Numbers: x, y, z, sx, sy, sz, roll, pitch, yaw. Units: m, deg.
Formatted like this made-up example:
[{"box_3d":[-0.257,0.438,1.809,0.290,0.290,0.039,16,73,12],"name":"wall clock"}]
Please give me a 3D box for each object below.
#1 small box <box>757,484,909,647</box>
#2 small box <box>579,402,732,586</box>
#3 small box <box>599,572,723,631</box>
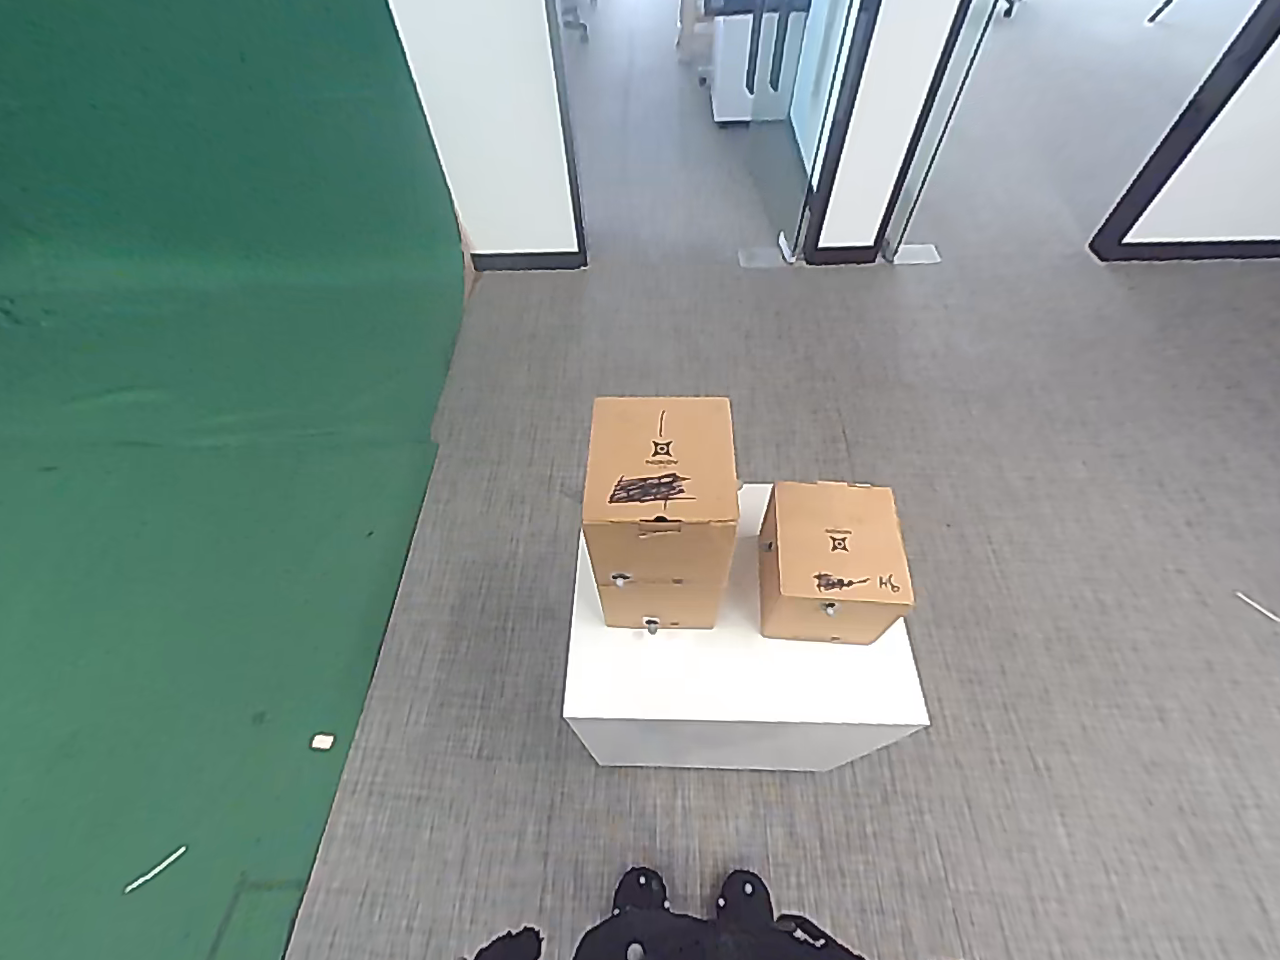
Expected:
[{"box_3d":[0.266,0.127,0.793,0.168,0.176,0.179,3,56,5],"name":"small box"},{"box_3d":[0.024,0.022,0.678,0.168,0.176,0.179,1,55,3],"name":"small box"},{"box_3d":[0.030,0.115,0.813,0.168,0.176,0.179,-2,57,2],"name":"small box"}]
